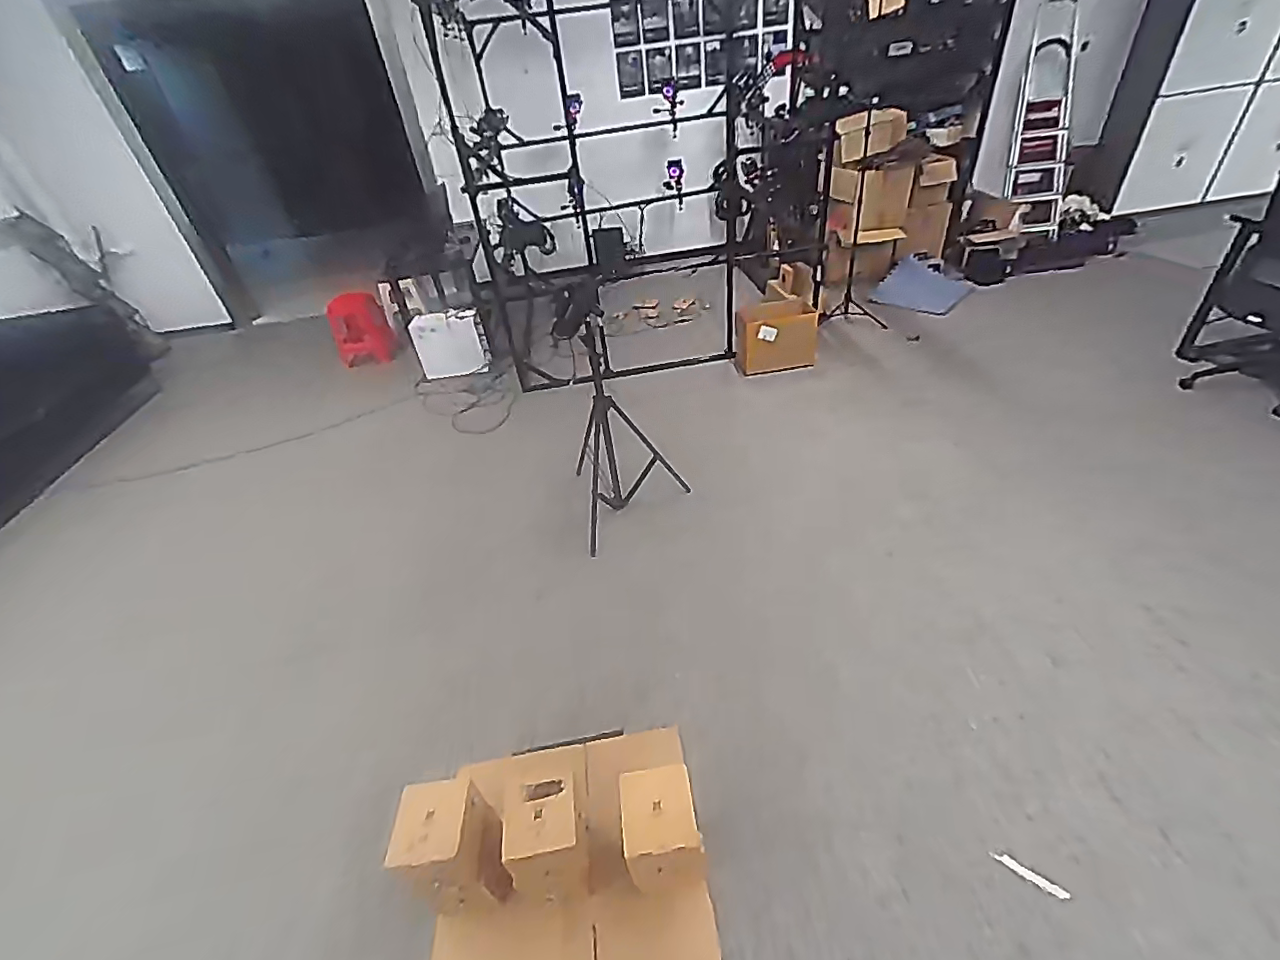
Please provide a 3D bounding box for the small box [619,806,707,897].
[{"bbox_3d":[0.060,0.916,1.372,0.179,0.176,0.168,-15,39,-9],"label":"small box"}]

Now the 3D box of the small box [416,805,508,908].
[{"bbox_3d":[-0.447,0.972,1.391,0.168,0.176,0.179,-9,39,0],"label":"small box"}]

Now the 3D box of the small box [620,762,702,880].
[{"bbox_3d":[0.048,0.796,1.263,0.168,0.176,0.179,-9,38,-1],"label":"small box"}]

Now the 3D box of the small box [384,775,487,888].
[{"bbox_3d":[-0.476,0.841,1.295,0.168,0.176,0.179,-8,38,1],"label":"small box"}]

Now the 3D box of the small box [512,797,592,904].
[{"bbox_3d":[-0.218,0.947,1.383,0.168,0.176,0.179,-7,38,0],"label":"small box"}]
